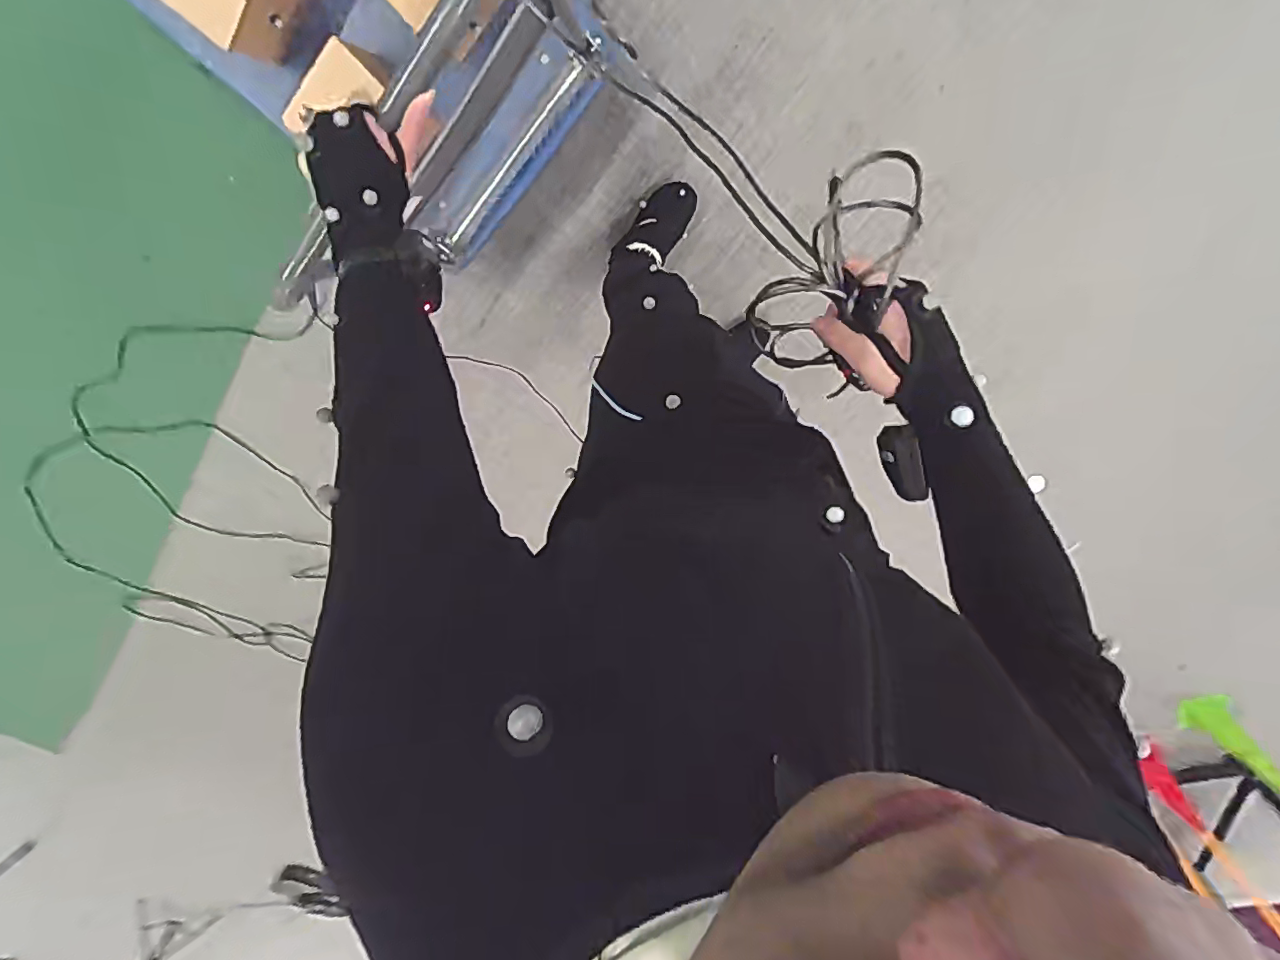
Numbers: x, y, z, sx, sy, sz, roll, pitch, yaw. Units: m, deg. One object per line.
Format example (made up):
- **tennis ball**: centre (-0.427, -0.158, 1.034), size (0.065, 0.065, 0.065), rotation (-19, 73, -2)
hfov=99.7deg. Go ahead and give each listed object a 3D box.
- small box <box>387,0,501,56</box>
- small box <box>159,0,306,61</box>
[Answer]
- **small box**: centre (-0.353, -0.864, 0.910), size (0.168, 0.176, 0.179), rotation (-40, 115, 21)
- **small box**: centre (-0.703, -0.852, 0.912), size (0.179, 0.176, 0.168), rotation (36, 114, -20)
